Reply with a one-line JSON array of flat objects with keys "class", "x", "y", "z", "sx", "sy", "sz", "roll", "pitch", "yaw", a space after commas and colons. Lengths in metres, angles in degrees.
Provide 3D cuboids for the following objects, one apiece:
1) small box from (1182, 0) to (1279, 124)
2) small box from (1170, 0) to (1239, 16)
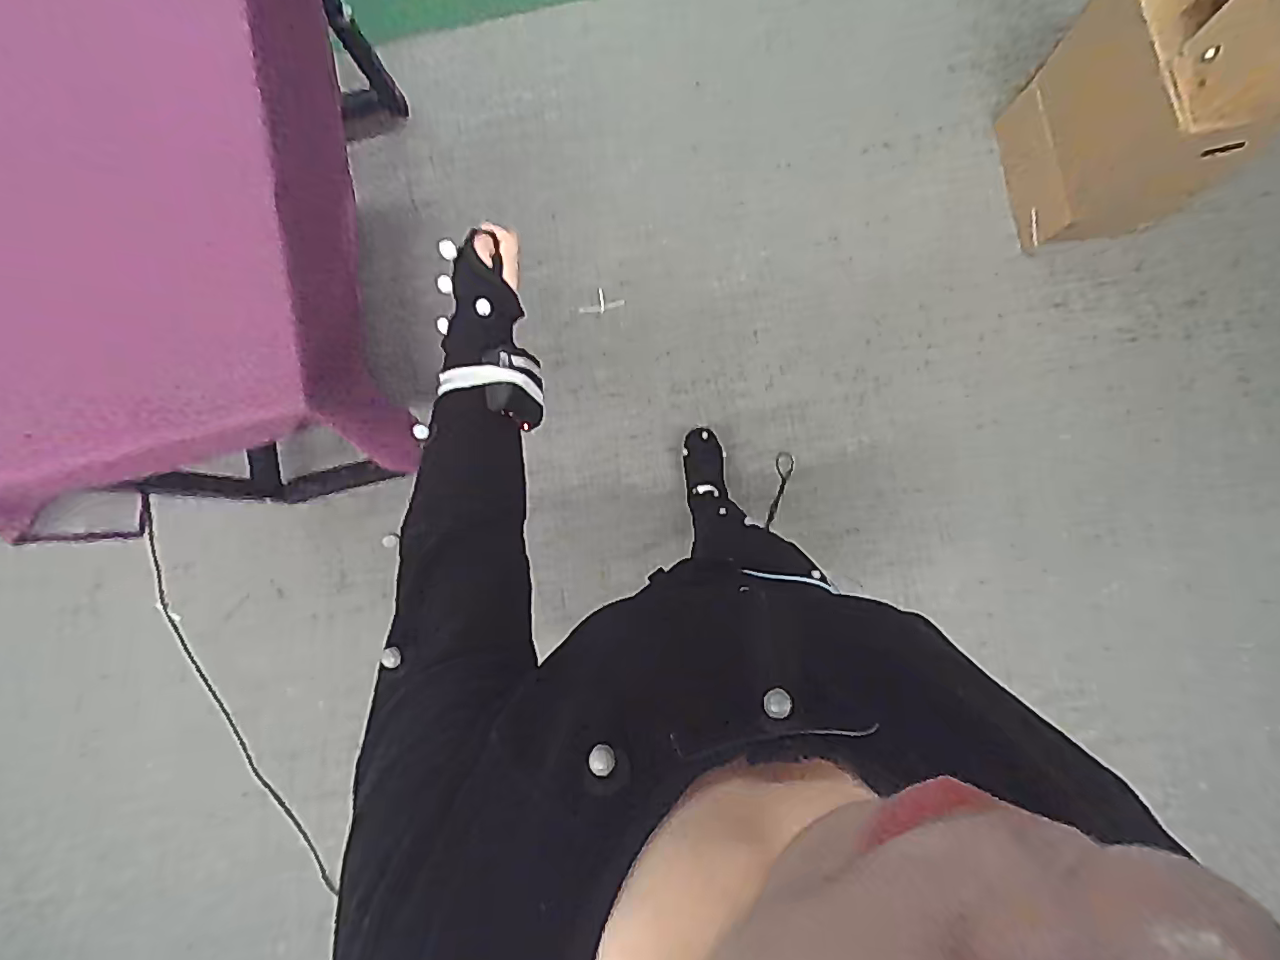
[{"class": "small box", "x": 1.143, "y": -0.777, "z": 0.964, "sx": 0.179, "sy": 0.176, "sz": 0.168, "roll": -3, "pitch": 83, "yaw": 5}, {"class": "small box", "x": 1.123, "y": -1.009, "z": 0.994, "sx": 0.179, "sy": 0.176, "sz": 0.168, "roll": -8, "pitch": 85, "yaw": 4}]
